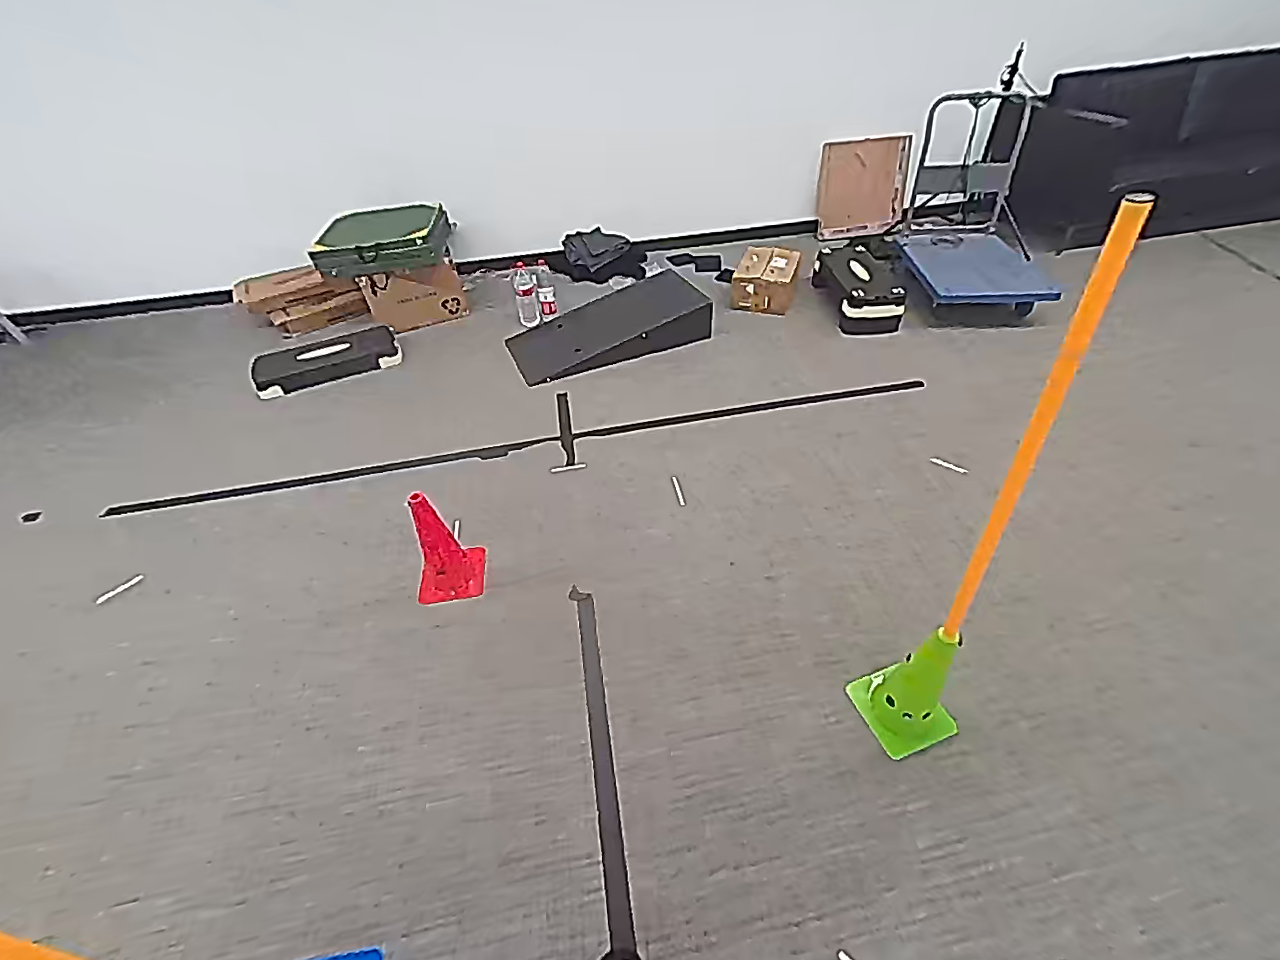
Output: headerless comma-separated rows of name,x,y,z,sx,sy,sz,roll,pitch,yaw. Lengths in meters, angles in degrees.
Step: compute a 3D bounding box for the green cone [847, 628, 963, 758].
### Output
green cone,0.646,0.447,1.237,0.200,0.368,0.202,-17,46,-13
